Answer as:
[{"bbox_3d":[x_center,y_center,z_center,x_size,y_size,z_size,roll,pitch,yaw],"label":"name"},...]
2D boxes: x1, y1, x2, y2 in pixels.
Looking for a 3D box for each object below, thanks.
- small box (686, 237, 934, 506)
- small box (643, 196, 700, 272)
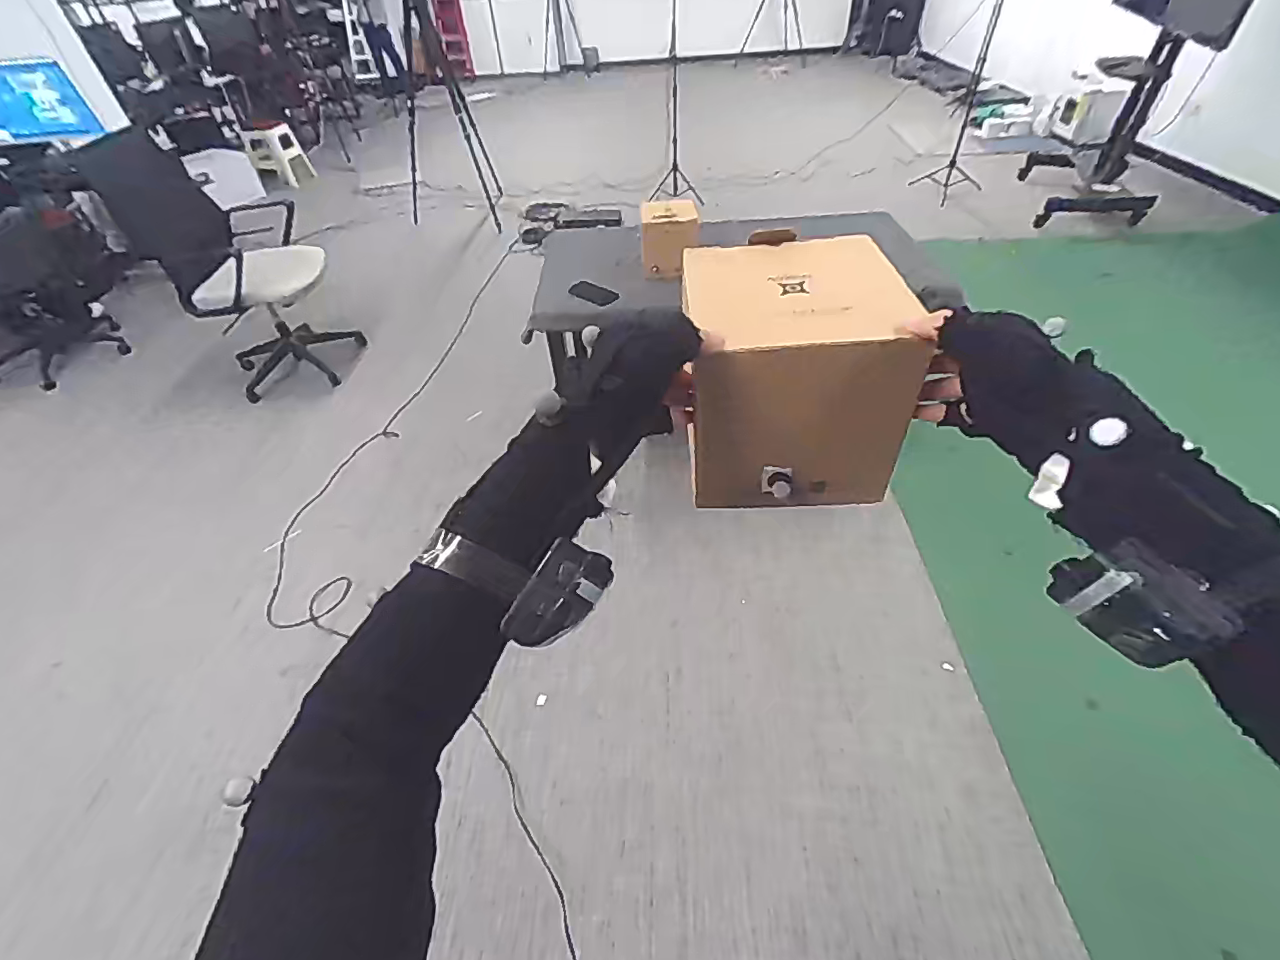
[{"bbox_3d":[0.125,-0.096,0.483,0.168,0.176,0.179,-3,46,4],"label":"small box"},{"bbox_3d":[0.096,-0.754,1.670,0.168,0.176,0.179,-3,44,0],"label":"small box"}]
